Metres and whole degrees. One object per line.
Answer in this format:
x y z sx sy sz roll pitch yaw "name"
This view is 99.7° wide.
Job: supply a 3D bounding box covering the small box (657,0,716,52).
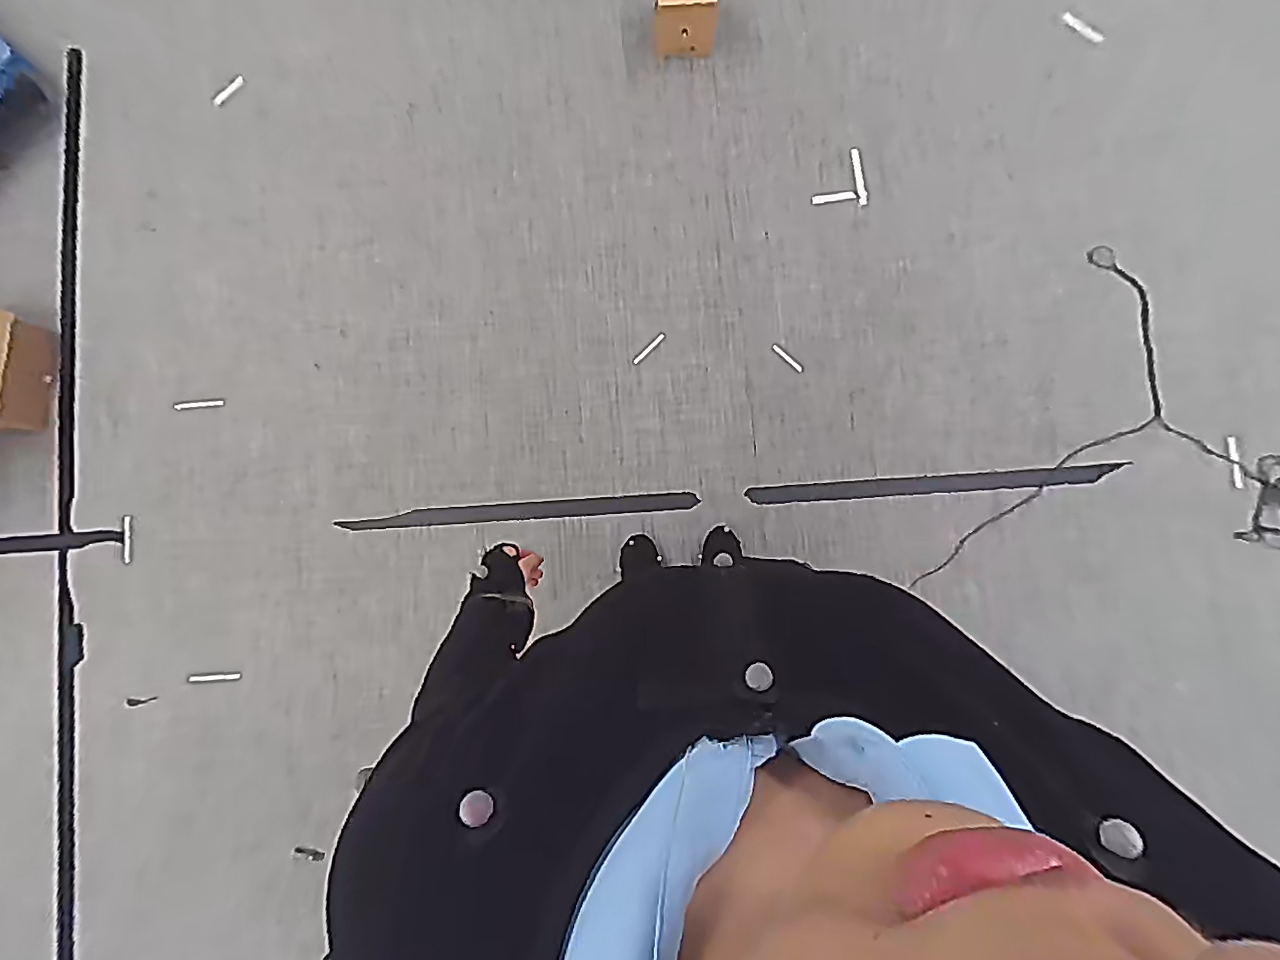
0.134 -1.384 1.567 0.168 0.176 0.179 -1 85 2 "small box"
